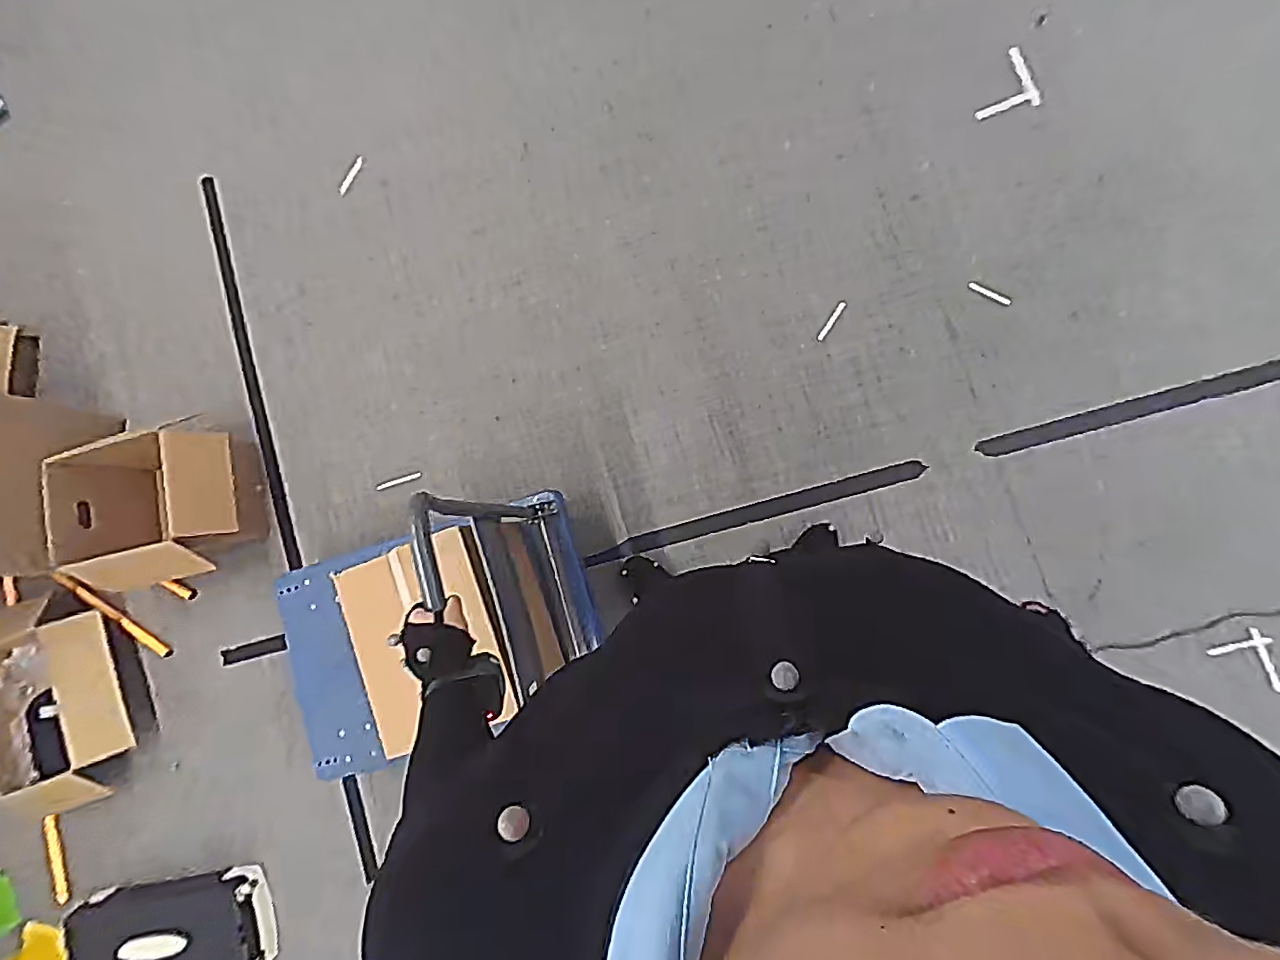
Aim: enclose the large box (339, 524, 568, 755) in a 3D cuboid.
[{"bbox_3d":[-0.412,0.342,1.264,0.320,0.320,0.408,-22,83,7],"label":"large box"}]
